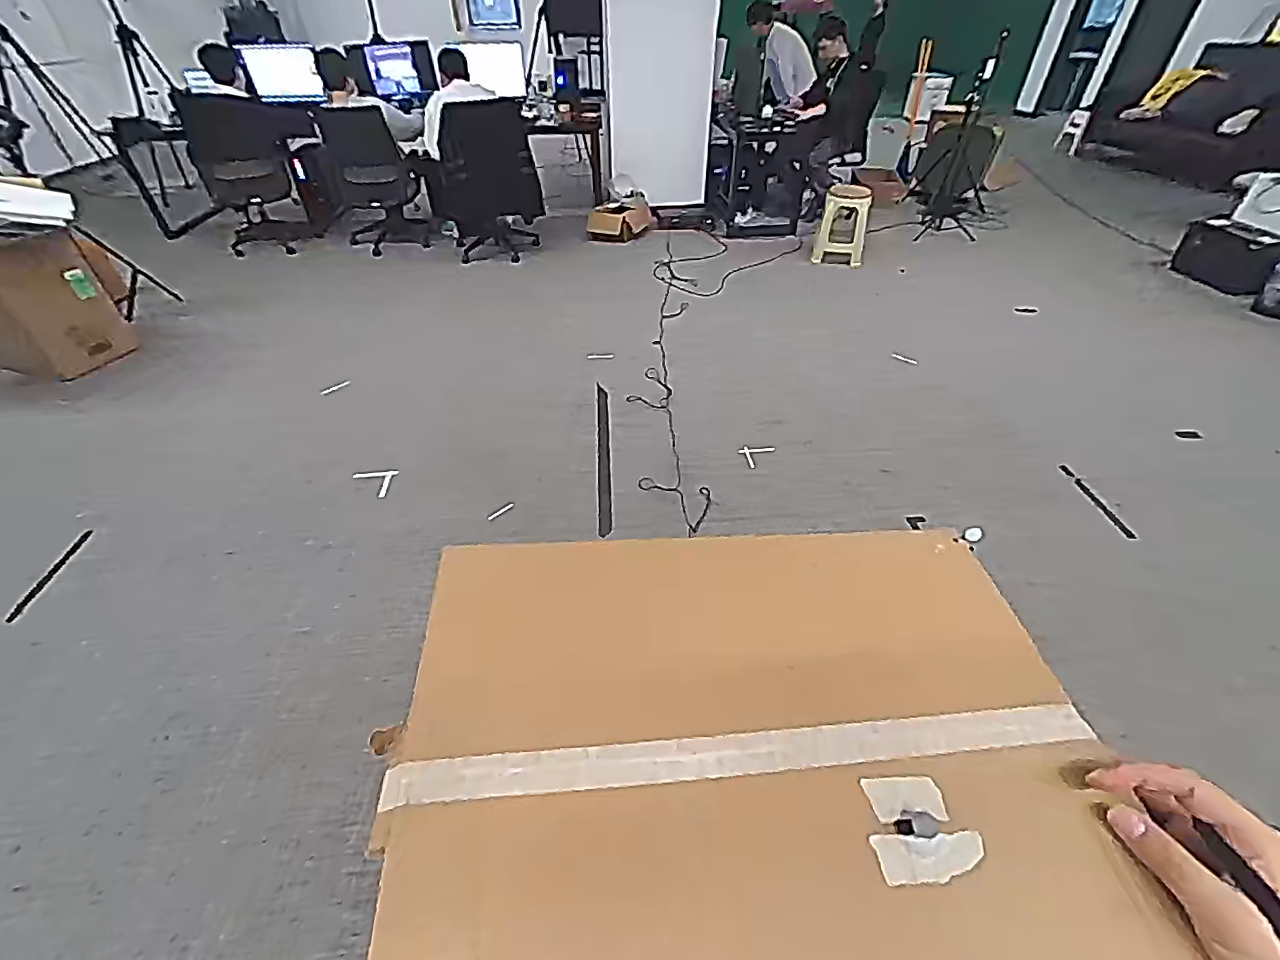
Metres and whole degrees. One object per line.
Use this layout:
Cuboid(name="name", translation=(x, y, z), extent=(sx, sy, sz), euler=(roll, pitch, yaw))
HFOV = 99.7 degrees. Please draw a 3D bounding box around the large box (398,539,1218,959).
Cuboid(name="large box", translation=(0.063, 0.265, 0.424), extent=(0.408, 0.320, 0.320), euler=(0, 46, -8))
